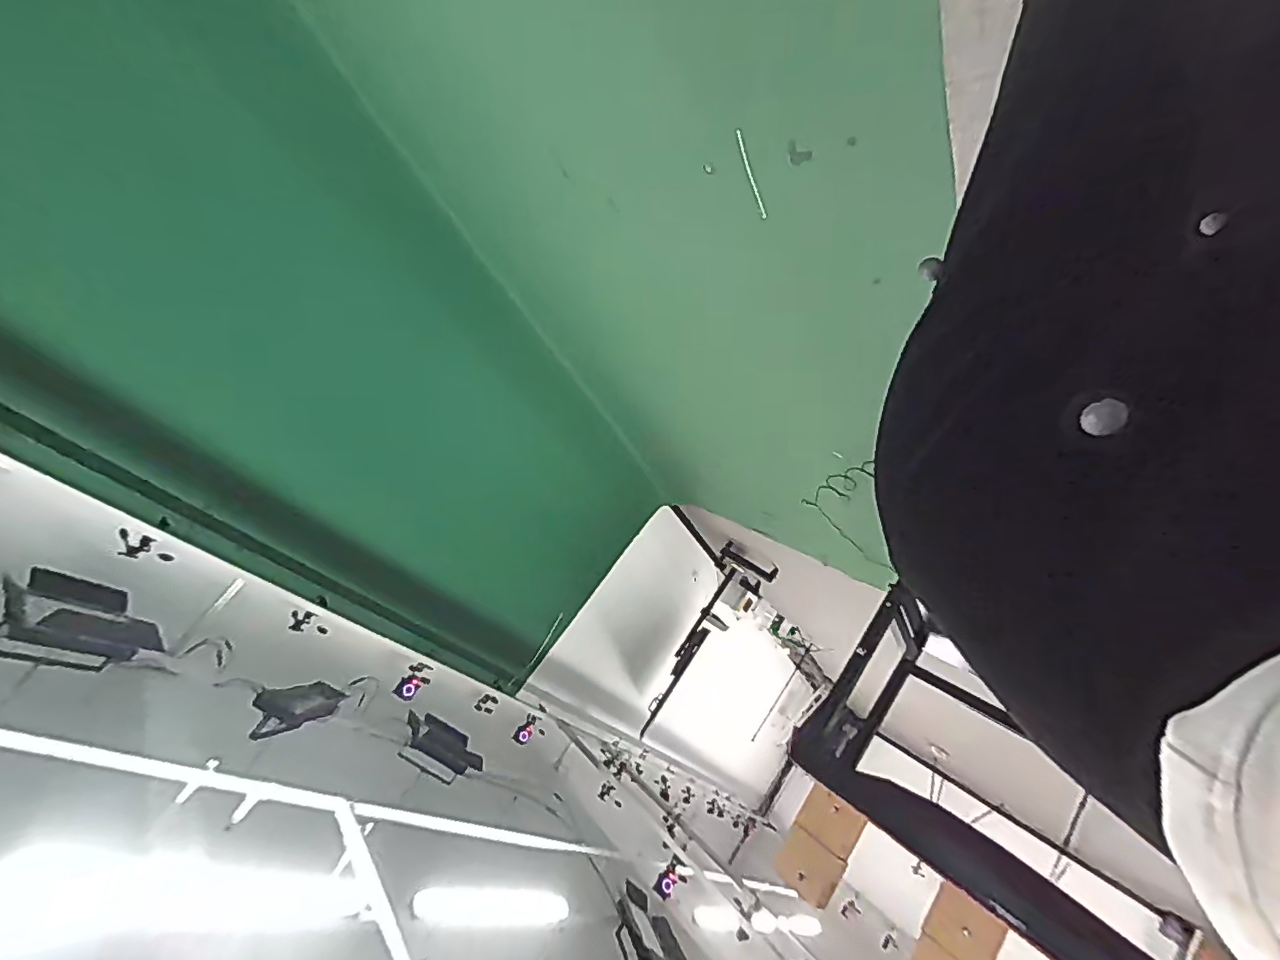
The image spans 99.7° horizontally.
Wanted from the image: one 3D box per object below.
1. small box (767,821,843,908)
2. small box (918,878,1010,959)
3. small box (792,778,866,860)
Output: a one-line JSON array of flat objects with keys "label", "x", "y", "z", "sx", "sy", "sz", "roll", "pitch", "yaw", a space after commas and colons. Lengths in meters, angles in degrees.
[{"label": "small box", "x": 0.565, "y": 1.297, "z": 1.827, "sx": 0.179, "sy": 0.176, "sz": 0.168, "roll": 23, "pitch": 159, "yaw": 44}, {"label": "small box", "x": 0.938, "y": 1.294, "z": 1.568, "sx": 0.179, "sy": 0.176, "sz": 0.168, "roll": 23, "pitch": 161, "yaw": 43}, {"label": "small box", "x": 0.663, "y": 1.174, "z": 1.878, "sx": 0.168, "sy": 0.176, "sz": 0.179, "roll": 24, "pitch": 159, "yaw": 44}]
